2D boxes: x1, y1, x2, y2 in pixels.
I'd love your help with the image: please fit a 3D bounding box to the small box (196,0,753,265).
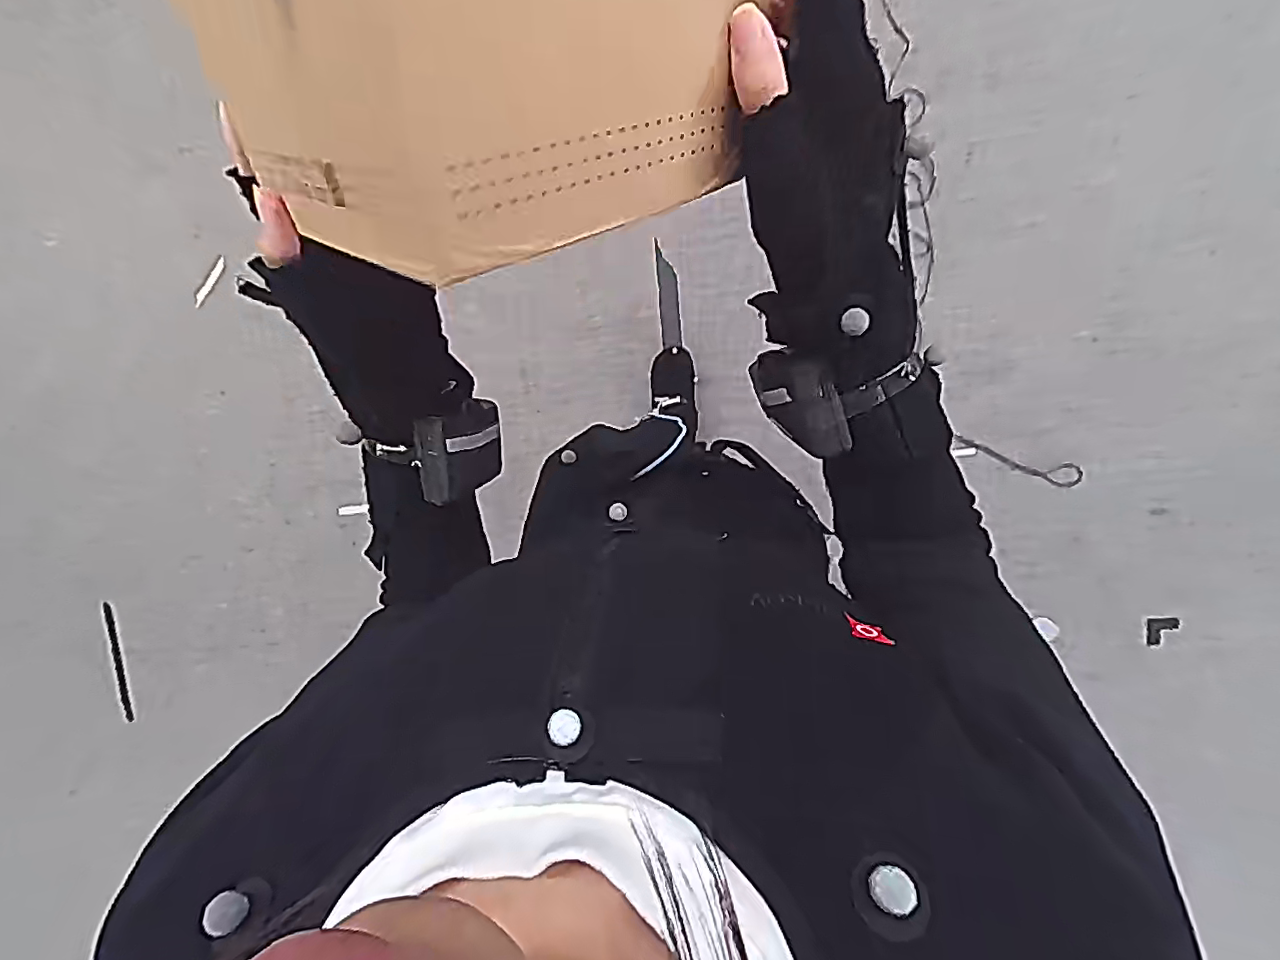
[{"bbox_3d":[-0.064,-0.200,0.216,0.168,0.179,0.176,28,139,35],"label":"small box"}]
